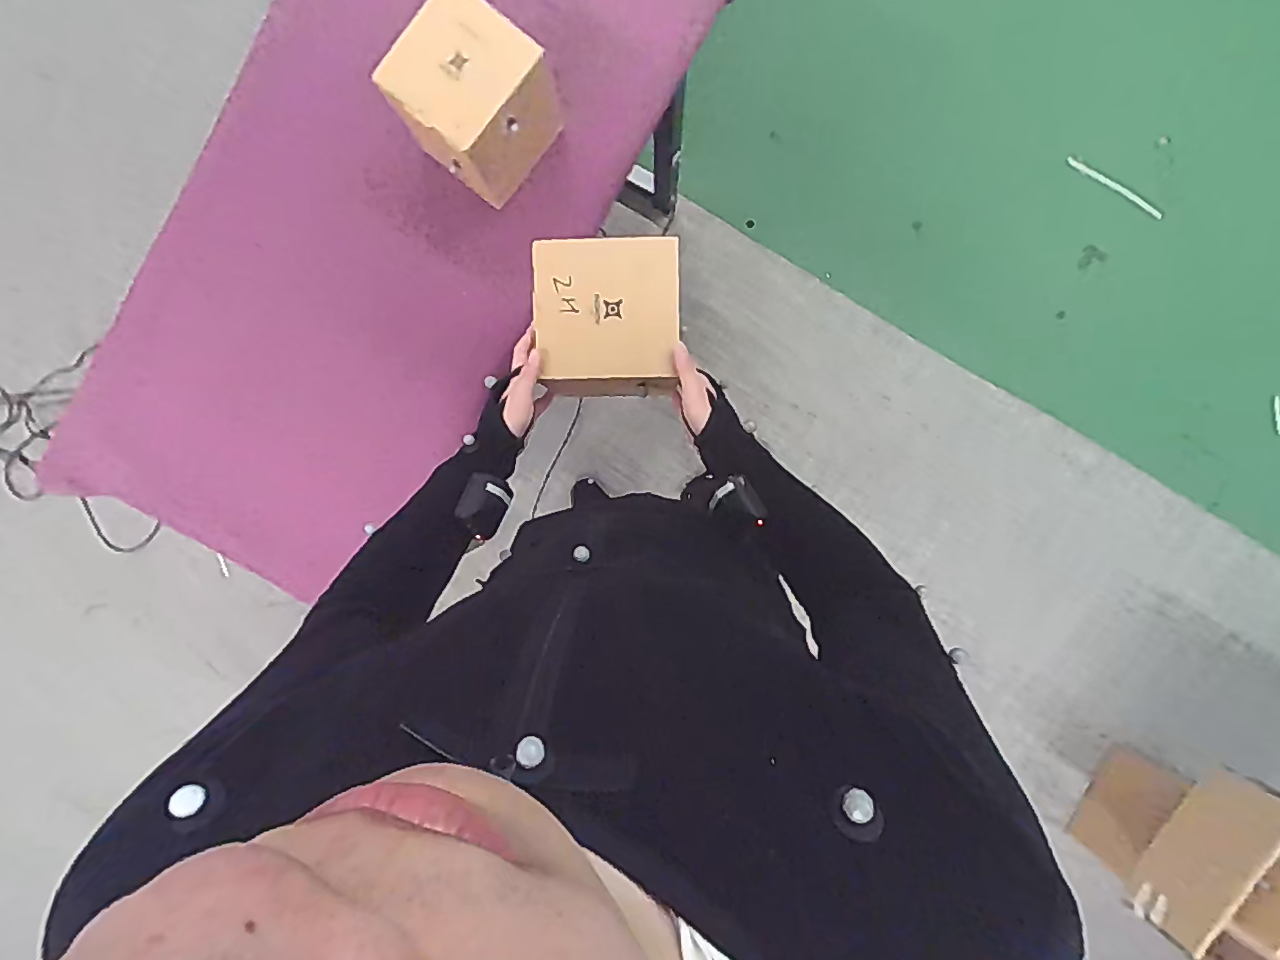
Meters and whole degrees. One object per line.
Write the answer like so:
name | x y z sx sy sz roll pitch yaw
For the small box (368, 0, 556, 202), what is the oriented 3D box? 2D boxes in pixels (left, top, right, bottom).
small box | -0.244 -0.554 0.793 0.168 0.176 0.179 40 93 -1

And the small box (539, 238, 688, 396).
small box | -0.030 -0.204 0.715 0.179 0.176 0.168 0 92 2

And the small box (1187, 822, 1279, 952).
small box | 1.350 0.885 1.153 0.168 0.176 0.179 35 93 -2
